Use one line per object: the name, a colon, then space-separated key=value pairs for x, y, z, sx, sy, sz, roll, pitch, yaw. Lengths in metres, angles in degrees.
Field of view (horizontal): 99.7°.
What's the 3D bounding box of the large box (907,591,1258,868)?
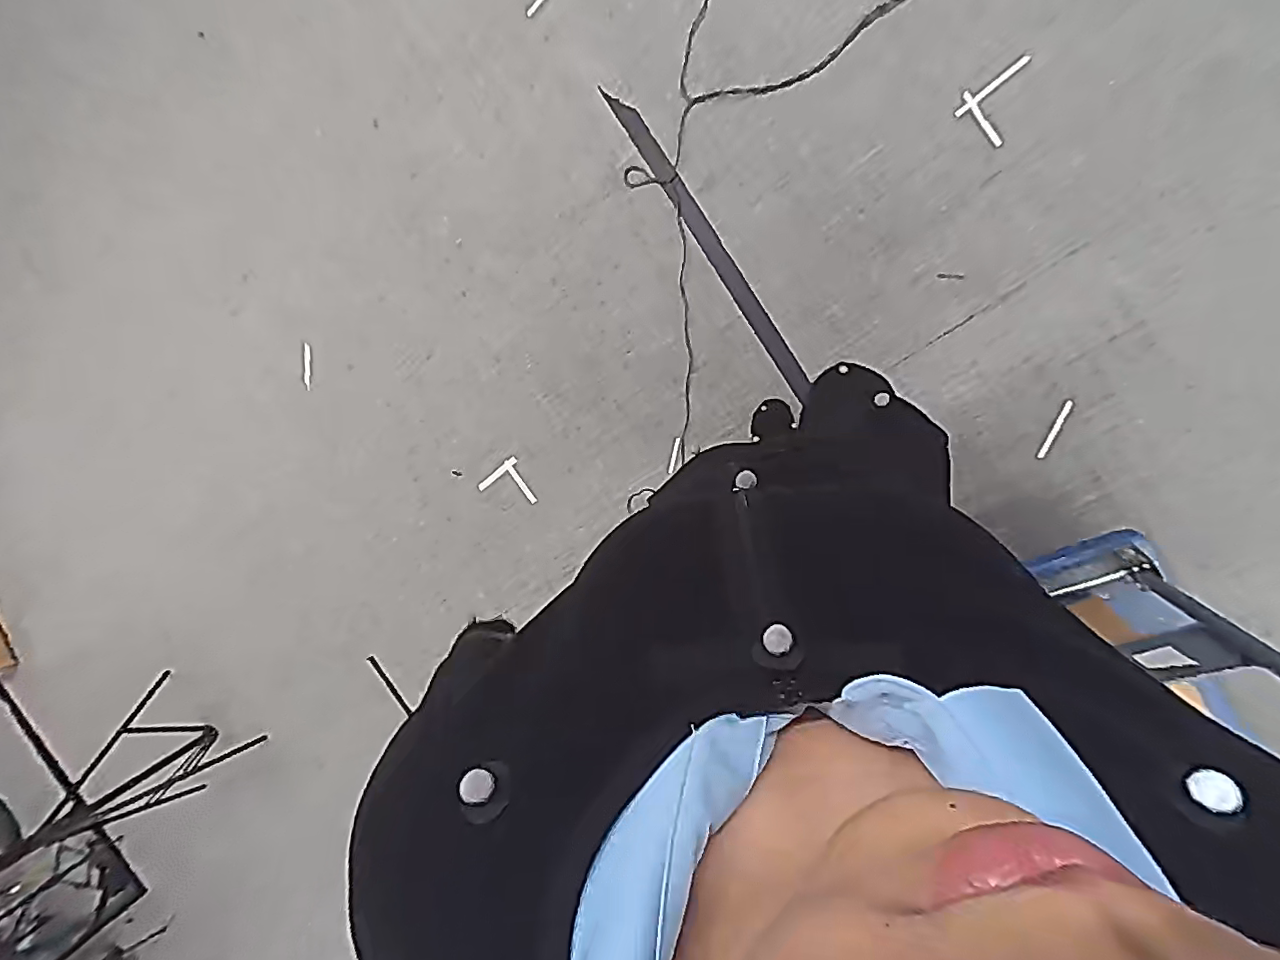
large box: x=0.824 y=0.484 z=1.088 sx=0.408 sy=0.320 sz=0.320 roll=-31 pitch=91 yaw=23
